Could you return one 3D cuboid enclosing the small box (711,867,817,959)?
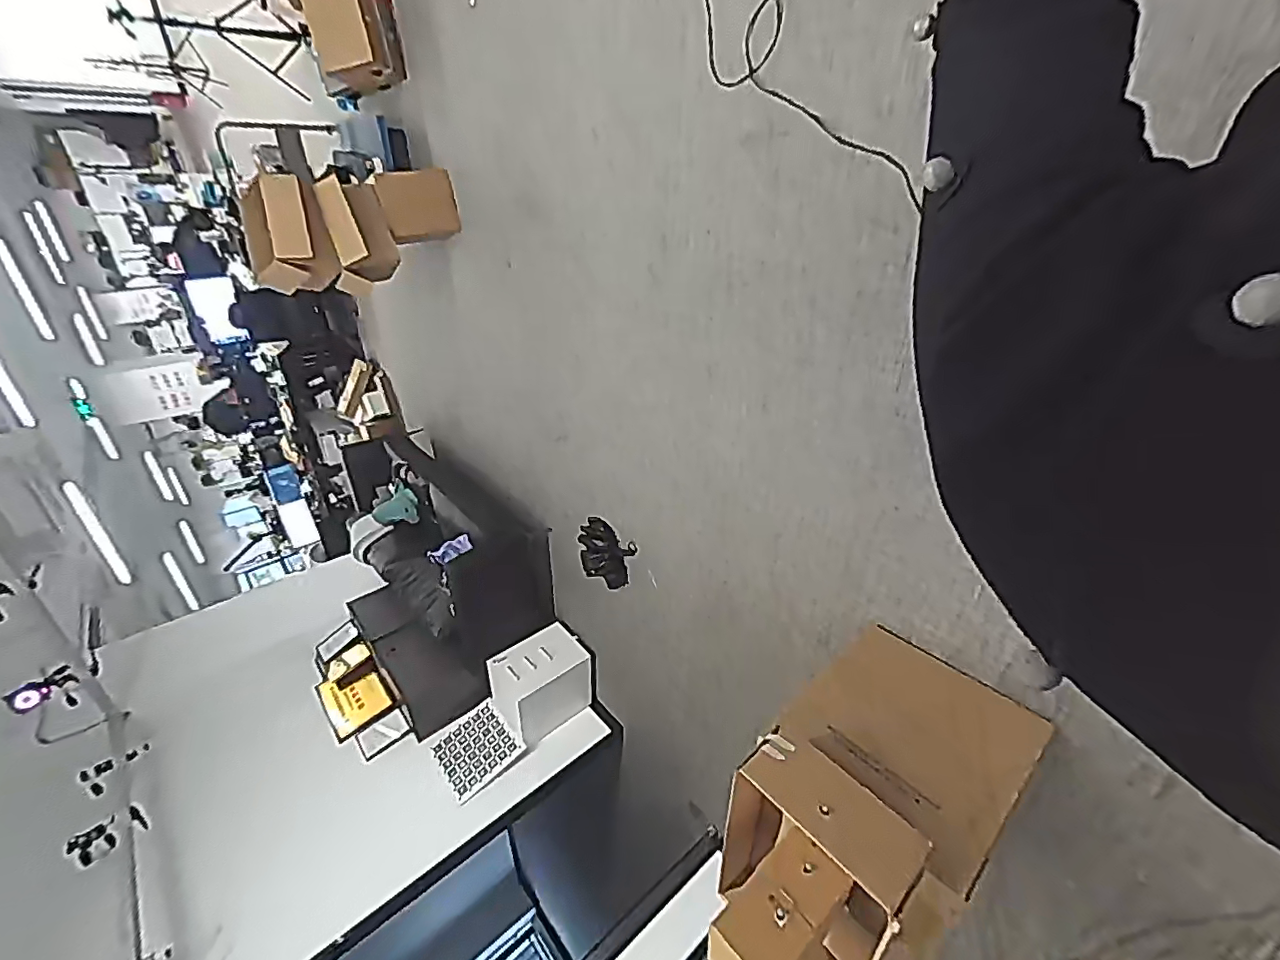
[{"bbox_3d":[0.277,1.036,1.217,0.168,0.176,0.179,26,129,42],"label":"small box"}]
